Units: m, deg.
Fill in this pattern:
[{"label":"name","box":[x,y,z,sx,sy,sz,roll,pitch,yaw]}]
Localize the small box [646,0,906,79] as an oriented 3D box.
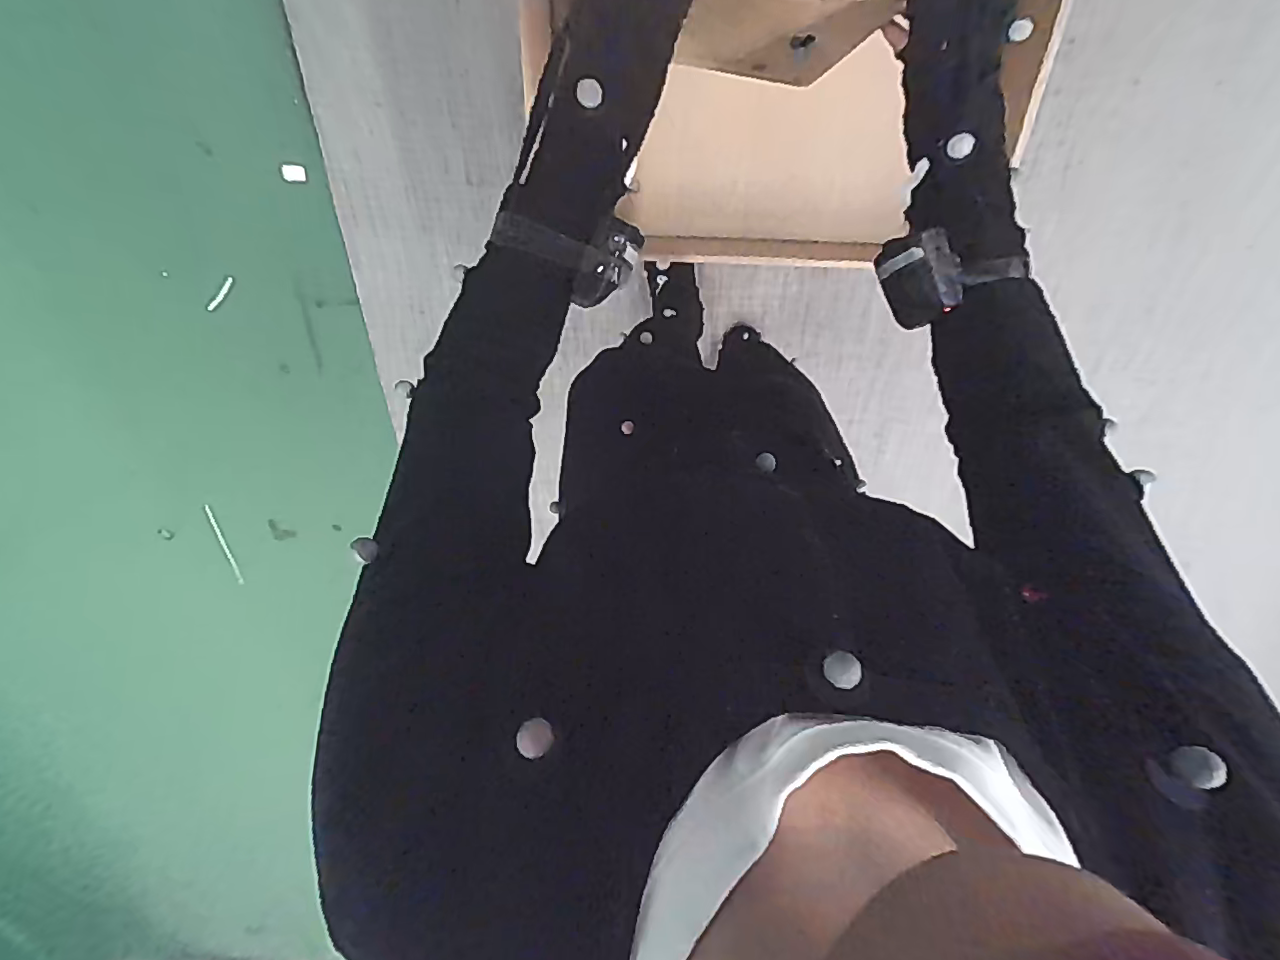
[{"label":"small box","box":[0.103,-0.437,0.403,0.168,0.176,0.179,2,107,-11]}]
